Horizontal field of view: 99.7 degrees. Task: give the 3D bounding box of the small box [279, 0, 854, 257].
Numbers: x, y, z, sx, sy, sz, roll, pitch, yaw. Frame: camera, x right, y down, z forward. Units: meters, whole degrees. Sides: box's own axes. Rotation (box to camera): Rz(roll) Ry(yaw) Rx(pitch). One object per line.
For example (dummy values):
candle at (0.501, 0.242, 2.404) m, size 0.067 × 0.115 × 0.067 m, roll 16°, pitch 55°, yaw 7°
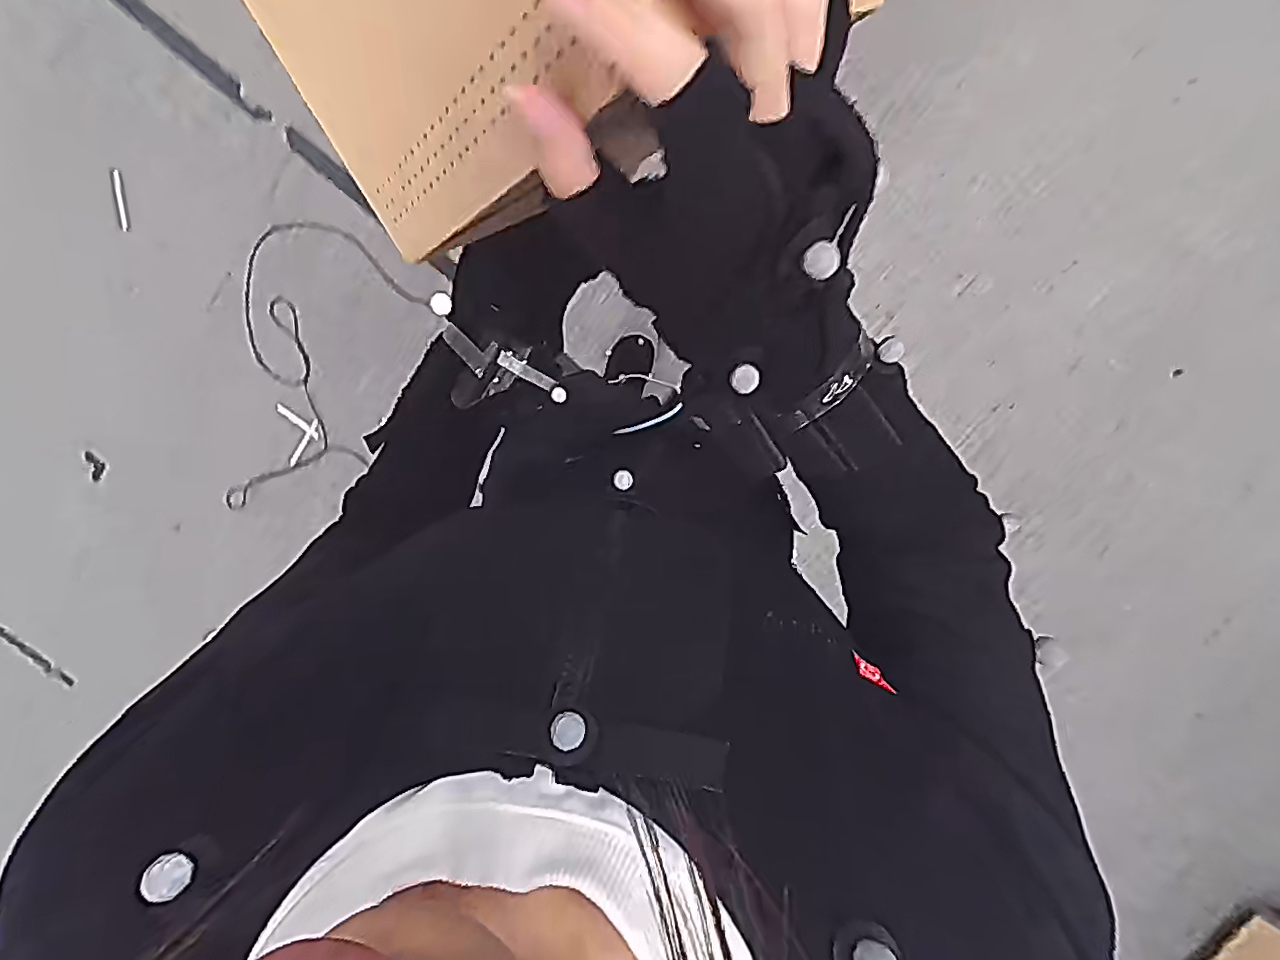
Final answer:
small box at (-0.040, -0.220, 0.229) m, size 0.179 × 0.168 × 0.176 m, roll -2°, pitch 125°, yaw 46°
